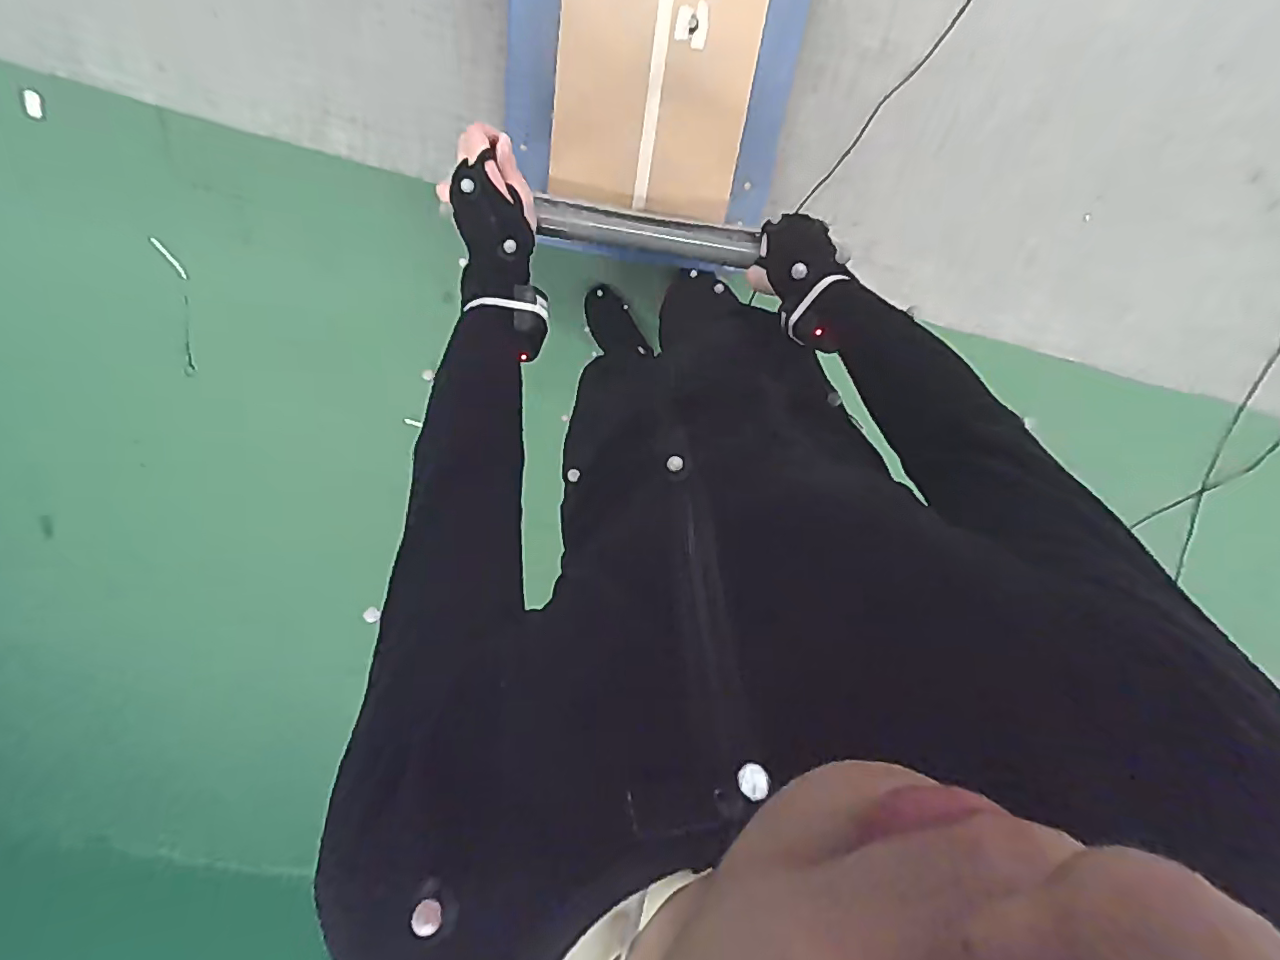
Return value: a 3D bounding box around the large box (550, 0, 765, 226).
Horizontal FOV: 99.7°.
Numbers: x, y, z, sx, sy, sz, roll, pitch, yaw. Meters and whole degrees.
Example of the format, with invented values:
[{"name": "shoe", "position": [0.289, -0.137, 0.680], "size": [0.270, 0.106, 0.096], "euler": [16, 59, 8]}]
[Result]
[{"name": "large box", "position": [0.020, -0.705, 0.993], "size": [0.320, 0.320, 0.408], "euler": [7, 114, -5]}]
